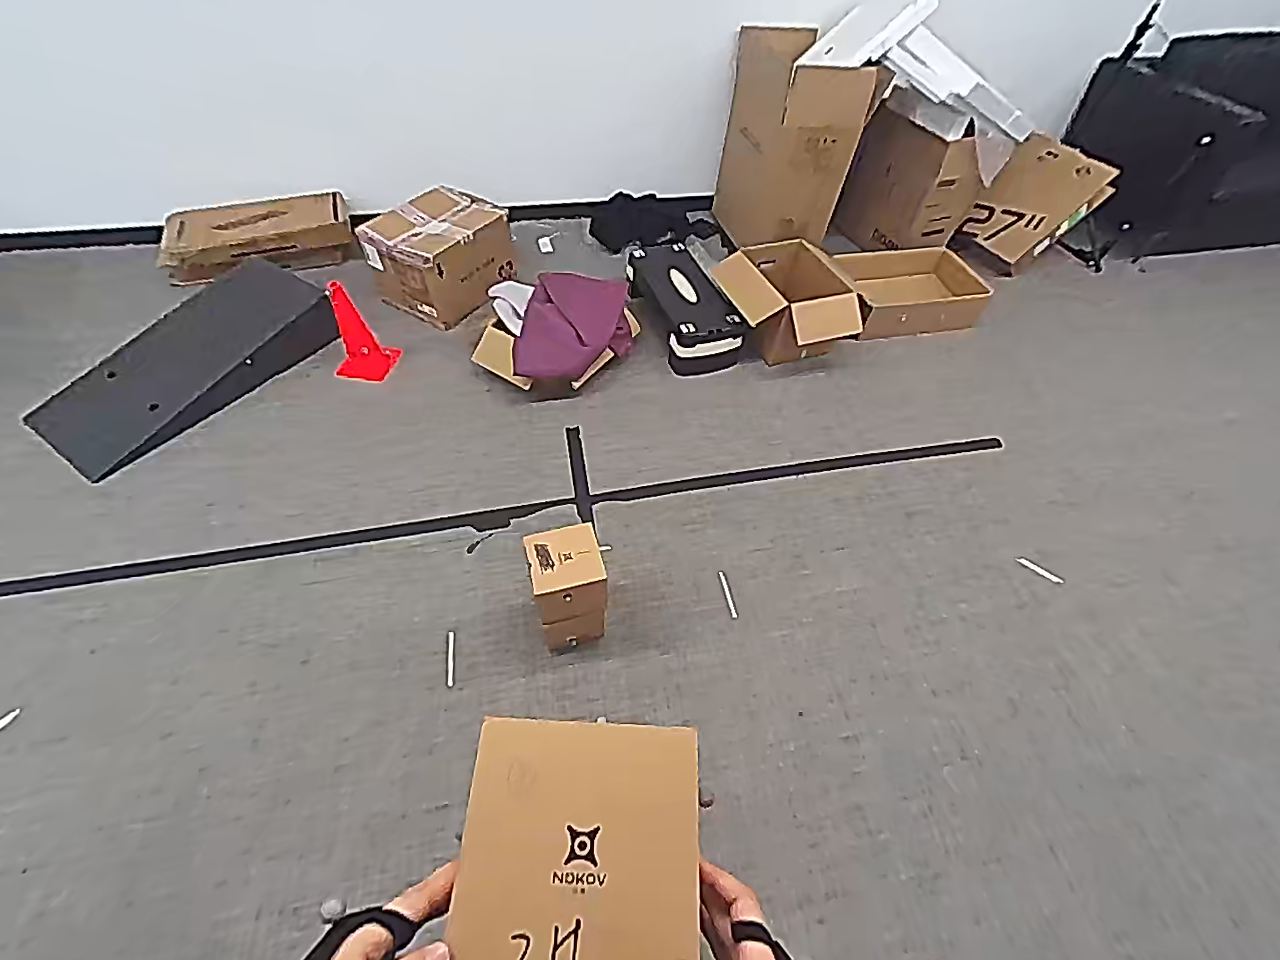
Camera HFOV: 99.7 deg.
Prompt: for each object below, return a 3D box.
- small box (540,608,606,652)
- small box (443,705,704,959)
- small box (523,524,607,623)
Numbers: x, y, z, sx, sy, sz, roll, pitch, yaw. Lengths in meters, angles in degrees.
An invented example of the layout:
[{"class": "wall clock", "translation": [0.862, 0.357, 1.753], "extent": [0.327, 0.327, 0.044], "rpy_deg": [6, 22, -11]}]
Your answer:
[{"class": "small box", "translation": [-0.196, 0.343, 1.482], "extent": [0.168, 0.176, 0.179], "rpy_deg": [-14, 55, -13]}, {"class": "small box", "translation": [-0.042, 0.293, 0.437], "extent": [0.168, 0.176, 0.179], "rpy_deg": [3, 59, 0]}, {"class": "small box", "translation": [-0.185, 0.239, 1.354], "extent": [0.179, 0.176, 0.168], "rpy_deg": [-12, 54, -12]}]
